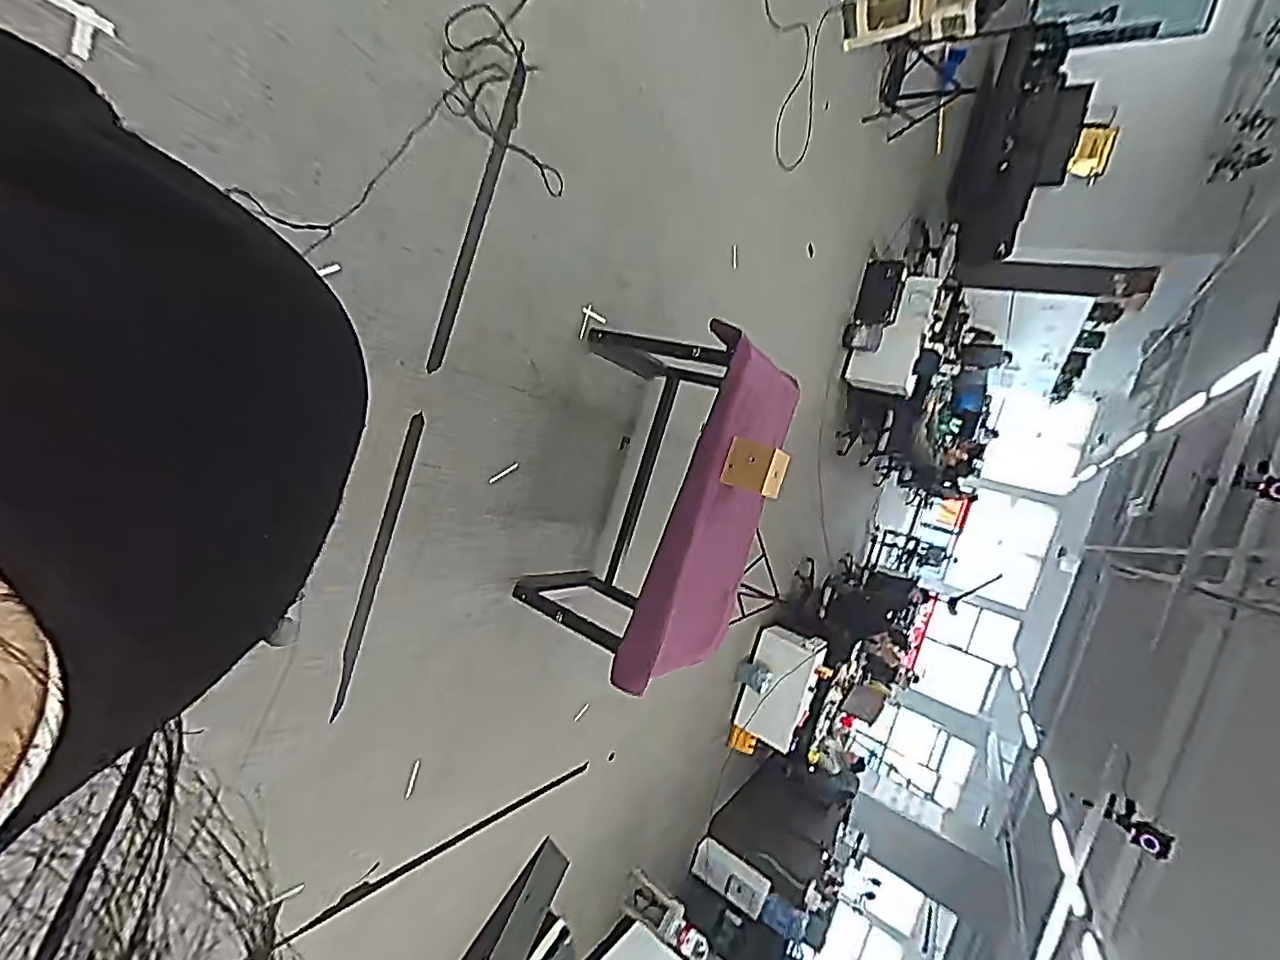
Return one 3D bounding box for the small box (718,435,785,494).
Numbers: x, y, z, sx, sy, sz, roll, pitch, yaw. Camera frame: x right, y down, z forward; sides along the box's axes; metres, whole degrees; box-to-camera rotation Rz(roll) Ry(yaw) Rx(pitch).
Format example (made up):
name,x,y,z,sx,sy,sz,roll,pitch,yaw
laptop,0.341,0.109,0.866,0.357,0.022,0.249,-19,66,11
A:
name,x,y,z,sx,sy,sz,roll,pitch,yaw
small box,0.400,-0.058,1.953,0.179,0.176,0.168,14,95,-59
